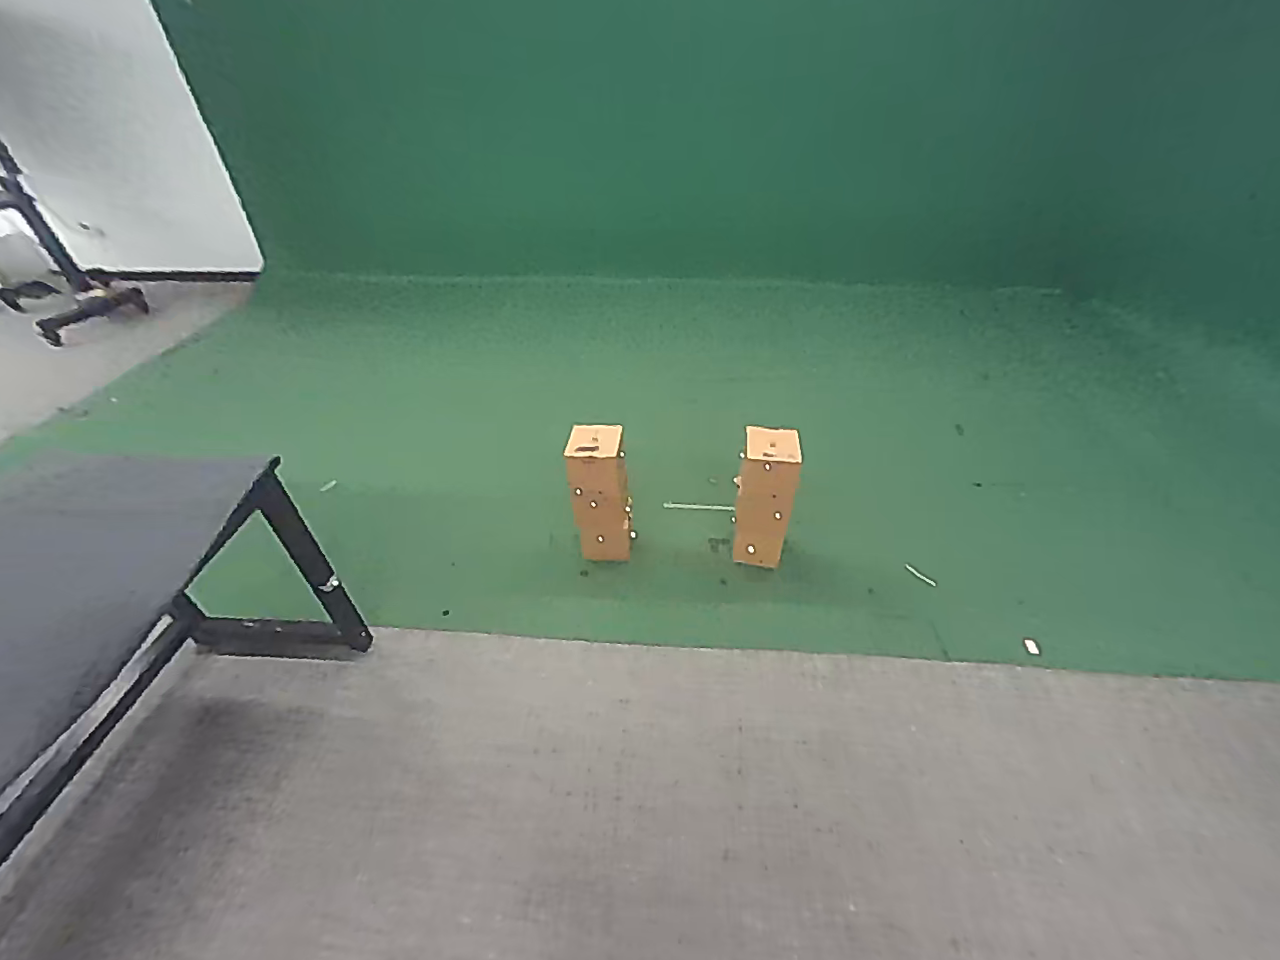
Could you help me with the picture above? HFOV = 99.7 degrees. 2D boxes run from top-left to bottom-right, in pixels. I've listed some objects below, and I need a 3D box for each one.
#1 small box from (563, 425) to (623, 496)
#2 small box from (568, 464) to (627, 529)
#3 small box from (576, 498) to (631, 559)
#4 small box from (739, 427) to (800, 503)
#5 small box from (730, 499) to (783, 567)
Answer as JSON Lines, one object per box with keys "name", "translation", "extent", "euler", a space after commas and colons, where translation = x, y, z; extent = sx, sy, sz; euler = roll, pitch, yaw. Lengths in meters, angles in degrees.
{"name": "small box", "translation": [-0.147, -0.062, 1.776], "extent": [0.168, 0.176, 0.179], "euler": [2, 40, 5]}
{"name": "small box", "translation": [-0.144, 0.055, 1.891], "extent": [0.179, 0.176, 0.168], "euler": [4, 42, 5]}
{"name": "small box", "translation": [-0.129, 0.178, 1.996], "extent": [0.179, 0.176, 0.168], "euler": [2, 41, 3]}
{"name": "small box", "translation": [0.414, -0.049, 1.752], "extent": [0.168, 0.176, 0.179], "euler": [5, 40, 6]}
{"name": "small box", "translation": [0.424, 0.195, 1.972], "extent": [0.168, 0.176, 0.179], "euler": [8, 41, 9]}
